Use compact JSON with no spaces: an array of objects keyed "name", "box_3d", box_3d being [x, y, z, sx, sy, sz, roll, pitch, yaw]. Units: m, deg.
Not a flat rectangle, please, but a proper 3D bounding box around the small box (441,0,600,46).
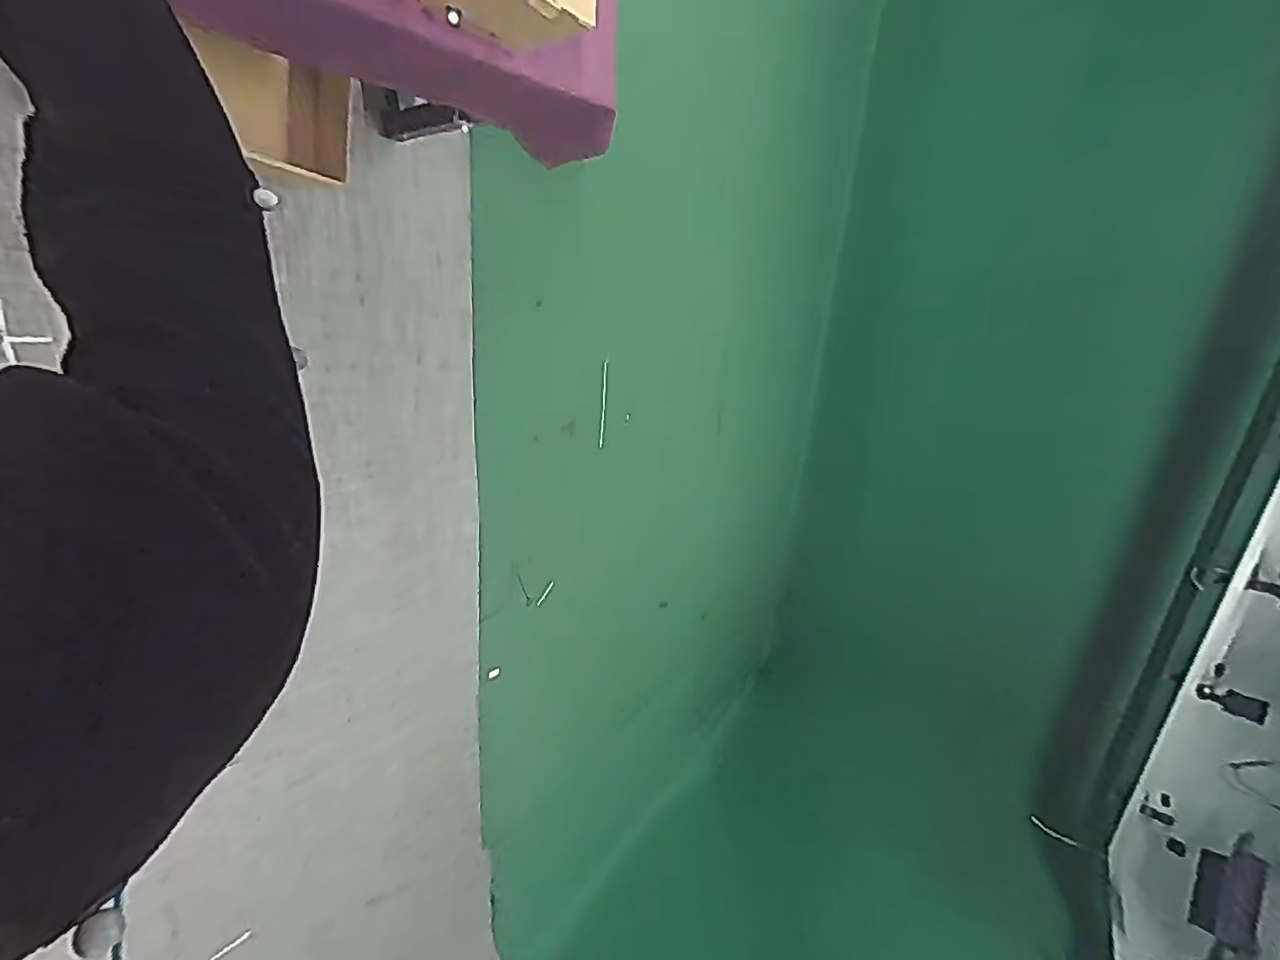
[{"name":"small box","box_3d":[-0.165,-0.708,0.701,0.168,0.176,0.179,-18,118,-49]}]
